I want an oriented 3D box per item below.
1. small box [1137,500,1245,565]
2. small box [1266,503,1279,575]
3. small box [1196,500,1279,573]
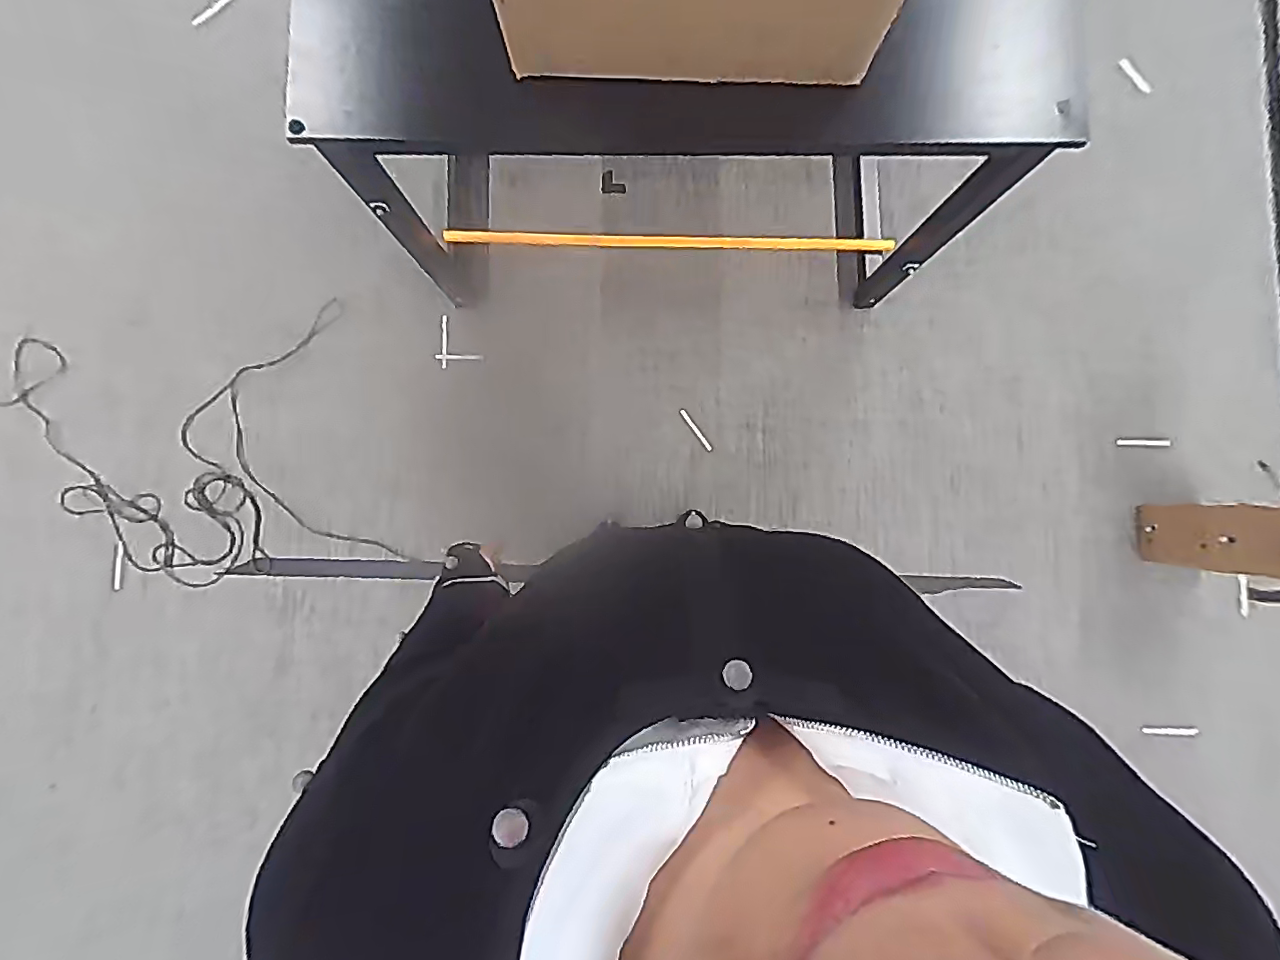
[{"bbox_3d":[1.489,0.136,1.440,0.179,0.176,0.168,-2,86,0],"label":"small box"},{"bbox_3d":[1.474,0.120,1.111,0.179,0.176,0.168,-6,86,-1],"label":"small box"},{"bbox_3d":[1.474,0.131,1.276,0.179,0.176,0.168,-1,86,0],"label":"small box"}]
